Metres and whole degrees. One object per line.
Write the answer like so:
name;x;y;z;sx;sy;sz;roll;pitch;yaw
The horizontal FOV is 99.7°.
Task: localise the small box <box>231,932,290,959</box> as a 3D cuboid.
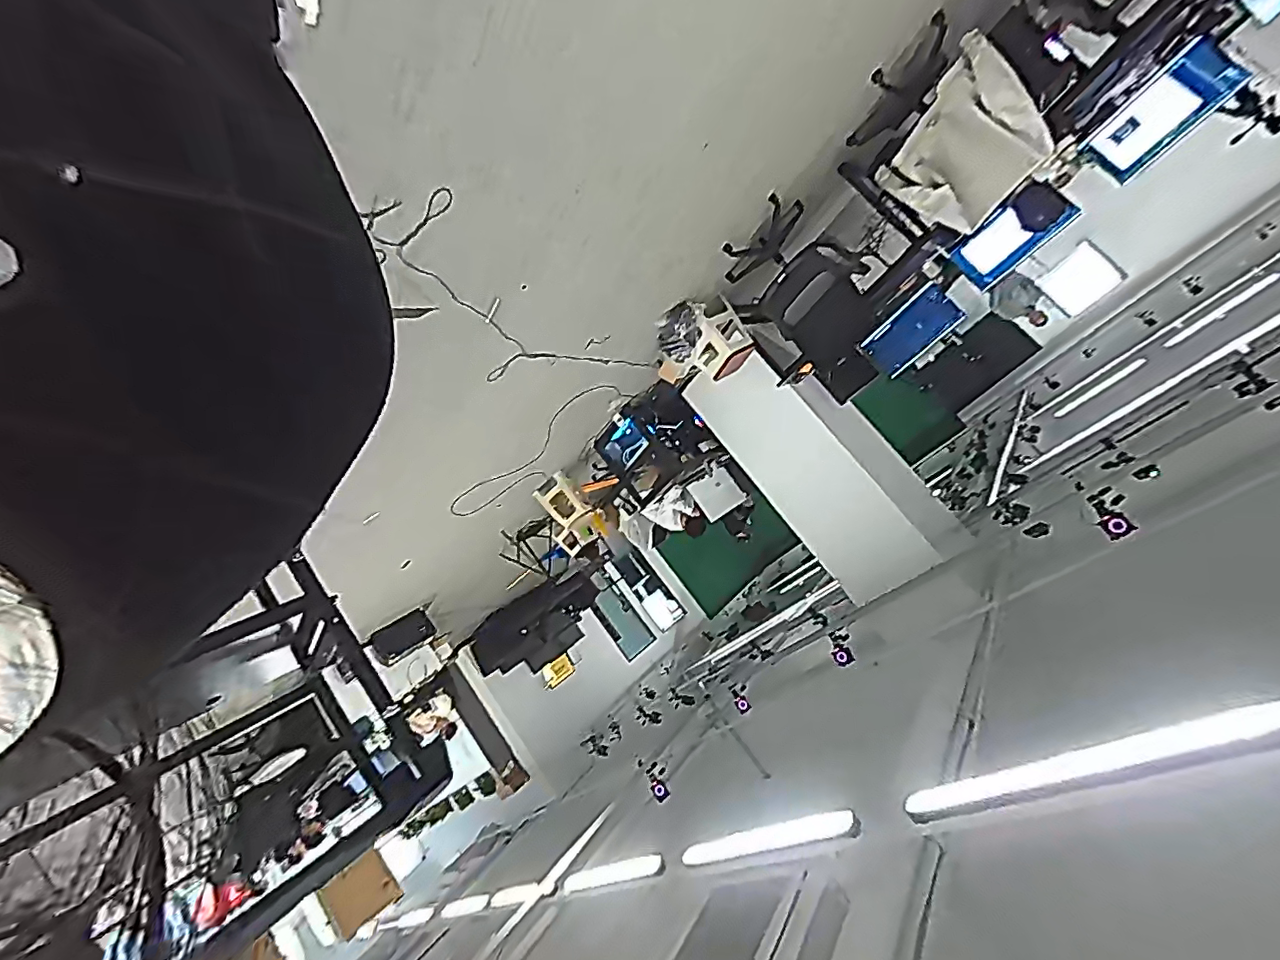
small box;-0.992;1.296;1.374;0.168;0.176;0.179;-24;165;-50
